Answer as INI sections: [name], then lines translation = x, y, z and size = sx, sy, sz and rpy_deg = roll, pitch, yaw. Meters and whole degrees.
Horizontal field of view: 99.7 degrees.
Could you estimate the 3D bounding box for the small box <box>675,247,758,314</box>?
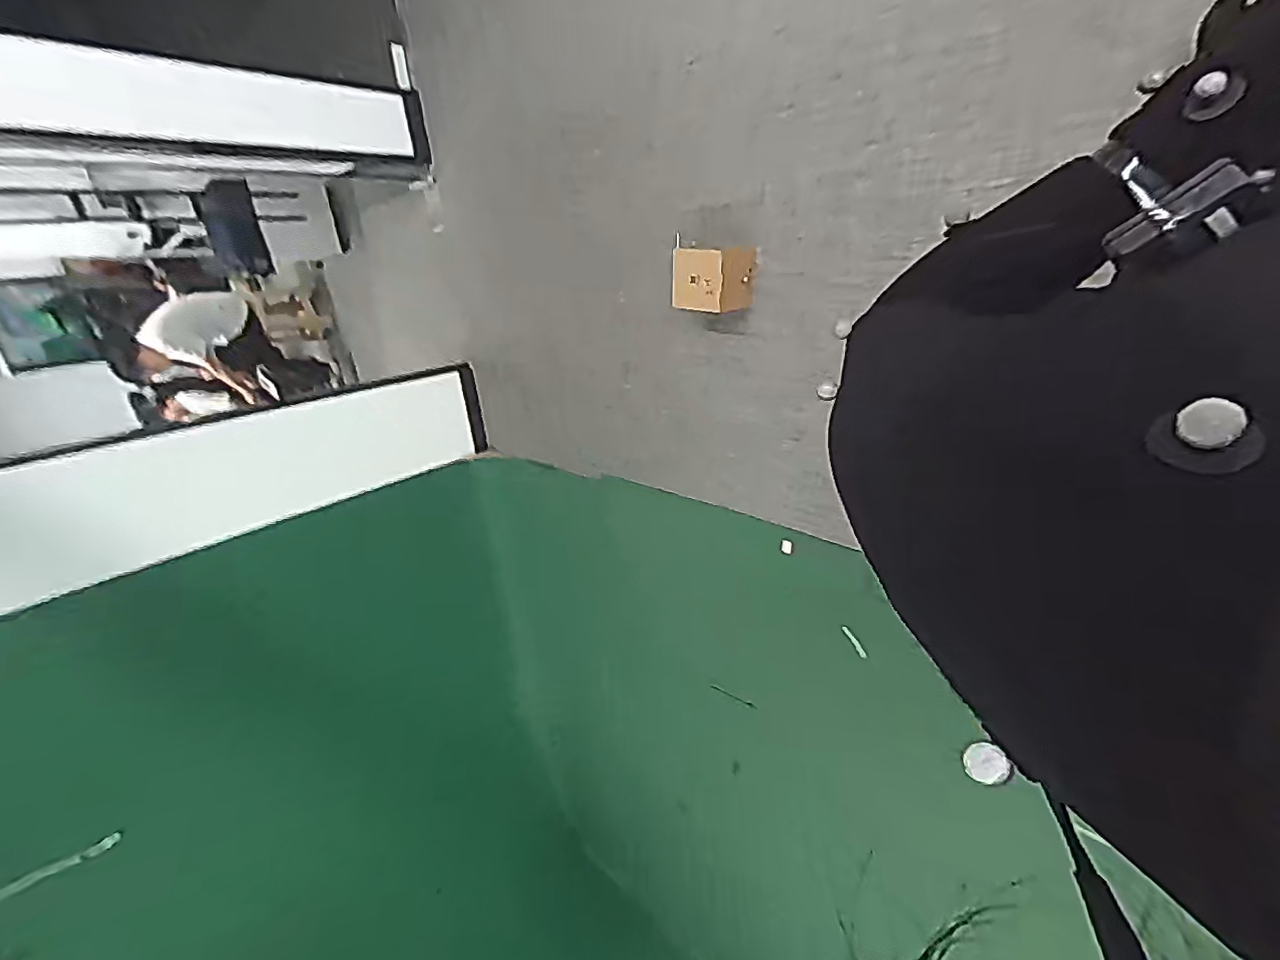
[small box]
translation = 0.224, -0.595, 1.600
size = 0.179, 0.176, 0.168
rpy_deg = 22, 124, 37
